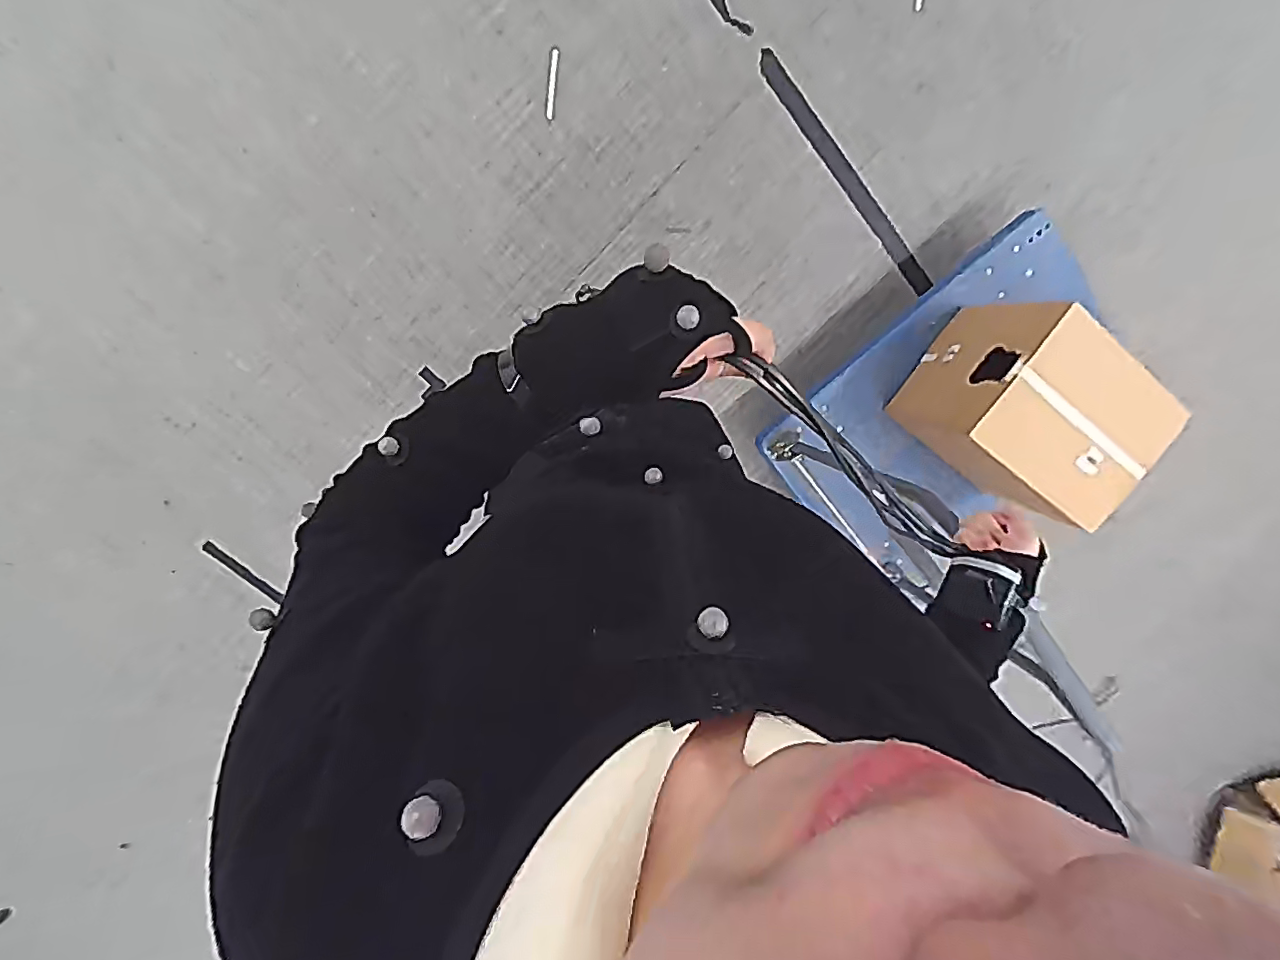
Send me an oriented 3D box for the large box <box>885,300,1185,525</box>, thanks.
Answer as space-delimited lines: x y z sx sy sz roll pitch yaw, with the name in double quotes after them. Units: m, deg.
0.868 -0.163 1.236 0.408 0.320 0.320 32 100 -16 "large box"
